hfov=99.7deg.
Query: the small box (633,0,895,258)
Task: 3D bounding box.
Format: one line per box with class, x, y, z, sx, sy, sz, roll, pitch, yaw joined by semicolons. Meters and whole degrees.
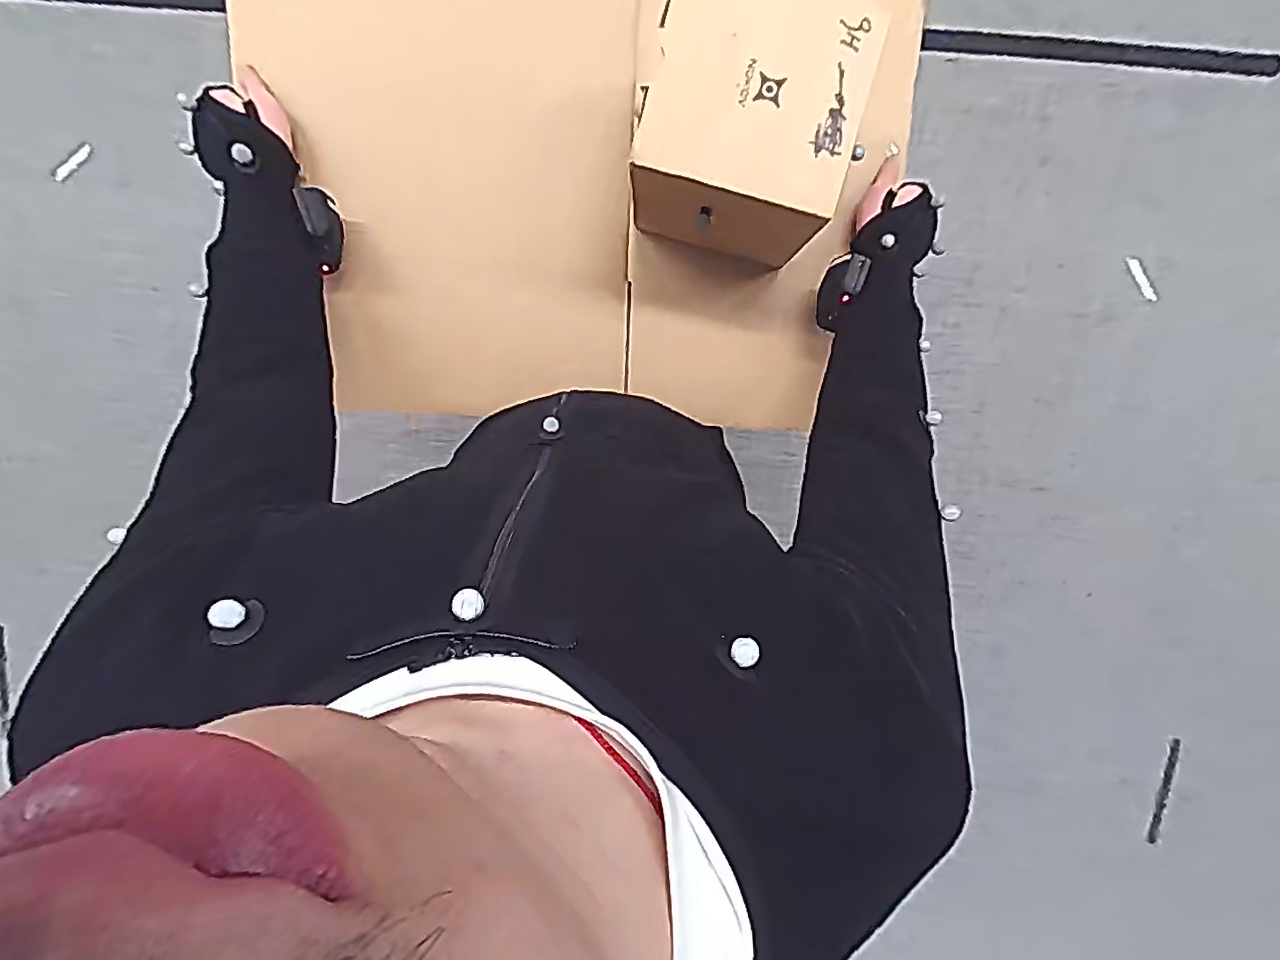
small box;0.100;-0.332;0.516;0.179;0.176;0.168;16;98;-1
